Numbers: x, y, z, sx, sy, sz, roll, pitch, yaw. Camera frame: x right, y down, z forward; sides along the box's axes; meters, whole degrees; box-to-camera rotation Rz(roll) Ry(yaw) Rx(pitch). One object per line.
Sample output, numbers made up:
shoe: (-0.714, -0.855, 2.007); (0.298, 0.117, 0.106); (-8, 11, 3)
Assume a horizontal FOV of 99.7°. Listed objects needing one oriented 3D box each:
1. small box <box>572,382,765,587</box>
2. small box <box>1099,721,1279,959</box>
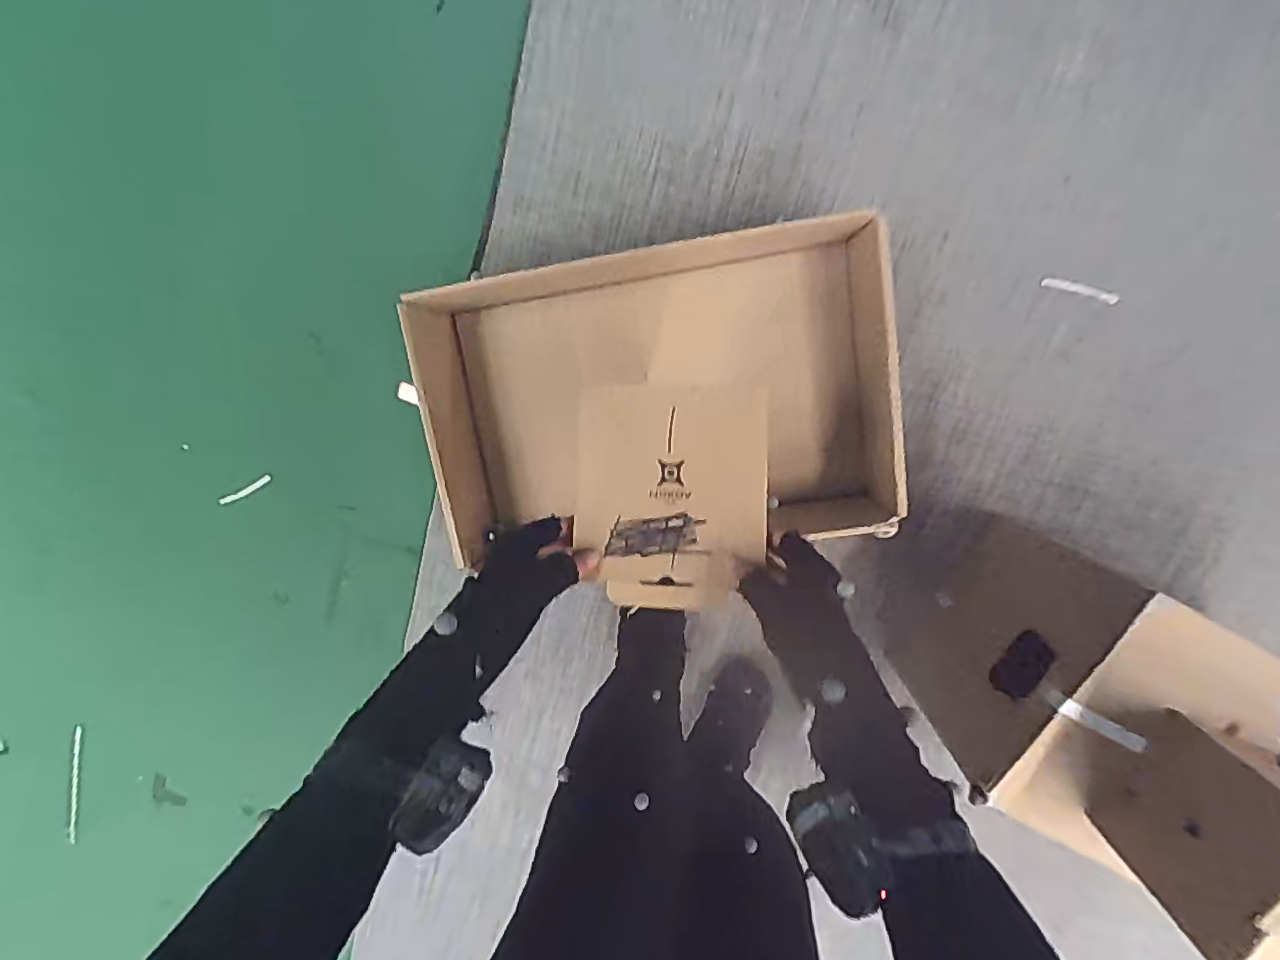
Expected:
small box: (0.035, 0.006, 0.544); (0.168, 0.176, 0.179); (1, 86, 8)
small box: (0.621, 0.372, 0.529); (0.179, 0.176, 0.168); (23, 105, 1)
